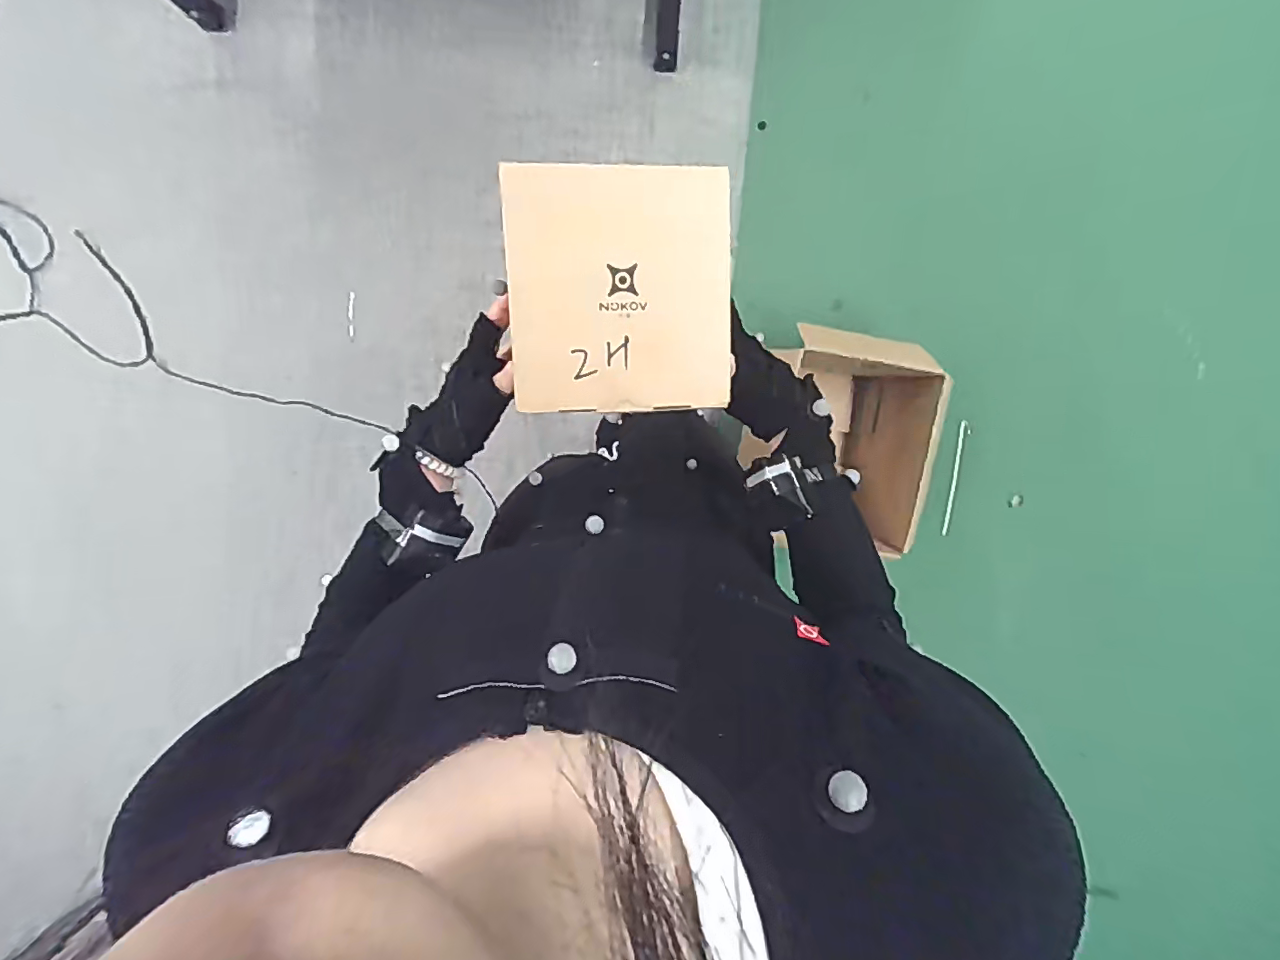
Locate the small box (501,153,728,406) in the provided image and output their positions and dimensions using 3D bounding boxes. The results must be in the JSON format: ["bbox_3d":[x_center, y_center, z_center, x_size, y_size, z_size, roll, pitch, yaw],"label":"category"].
[{"bbox_3d":[-0.026,-0.156,0.473,0.168,0.176,0.179,-3,100,-7],"label":"small box"}]
